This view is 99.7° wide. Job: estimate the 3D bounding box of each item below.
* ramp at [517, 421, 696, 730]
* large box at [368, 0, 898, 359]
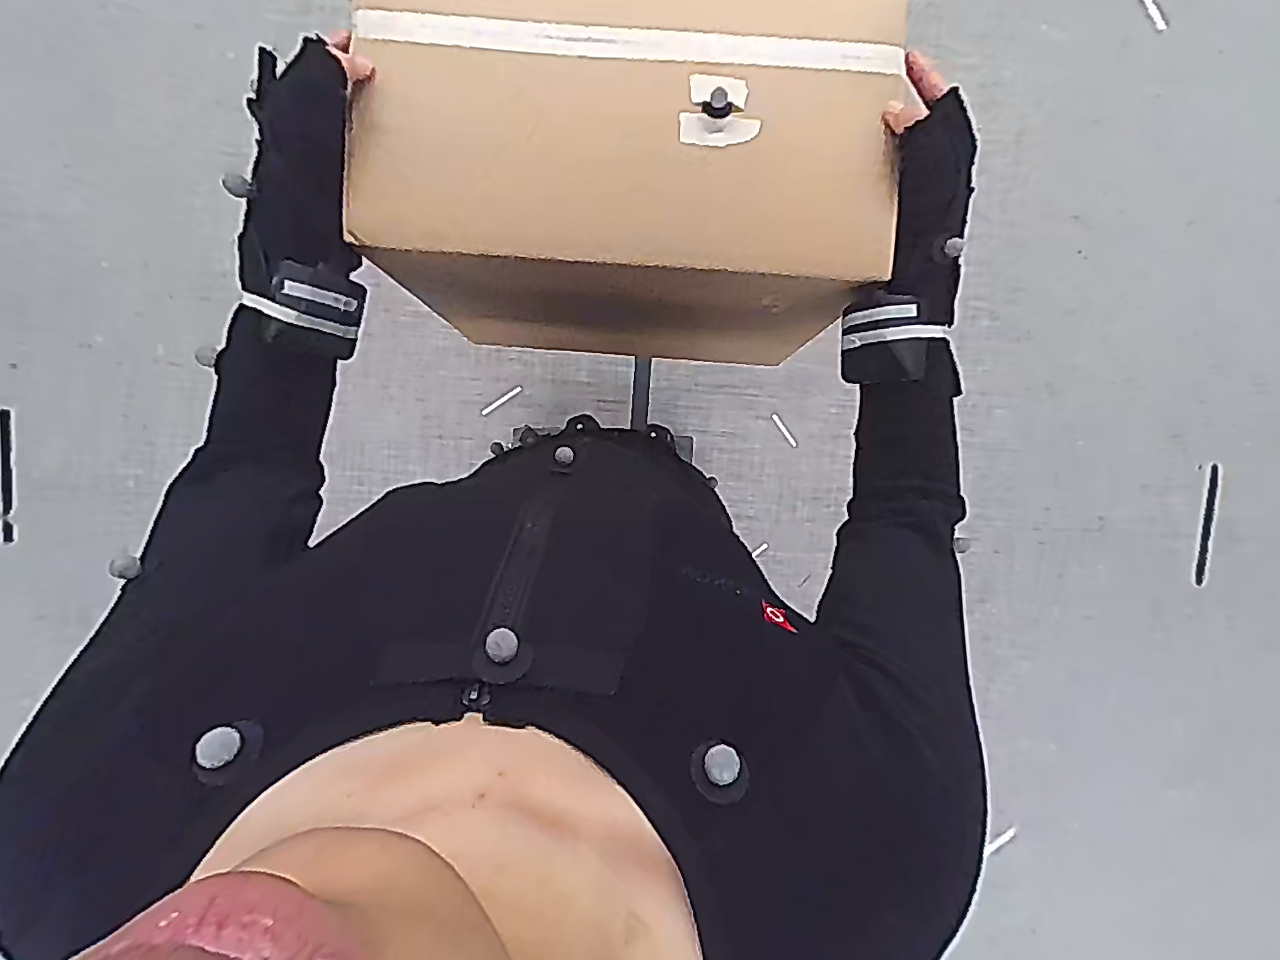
[{"bbox_3d":[-0.109,0.326,1.606,0.509,0.206,0.991,1,97,-3],"label":"ramp"},{"bbox_3d":[-0.007,-0.320,0.563,0.408,0.320,0.320,4,91,-1],"label":"large box"}]
